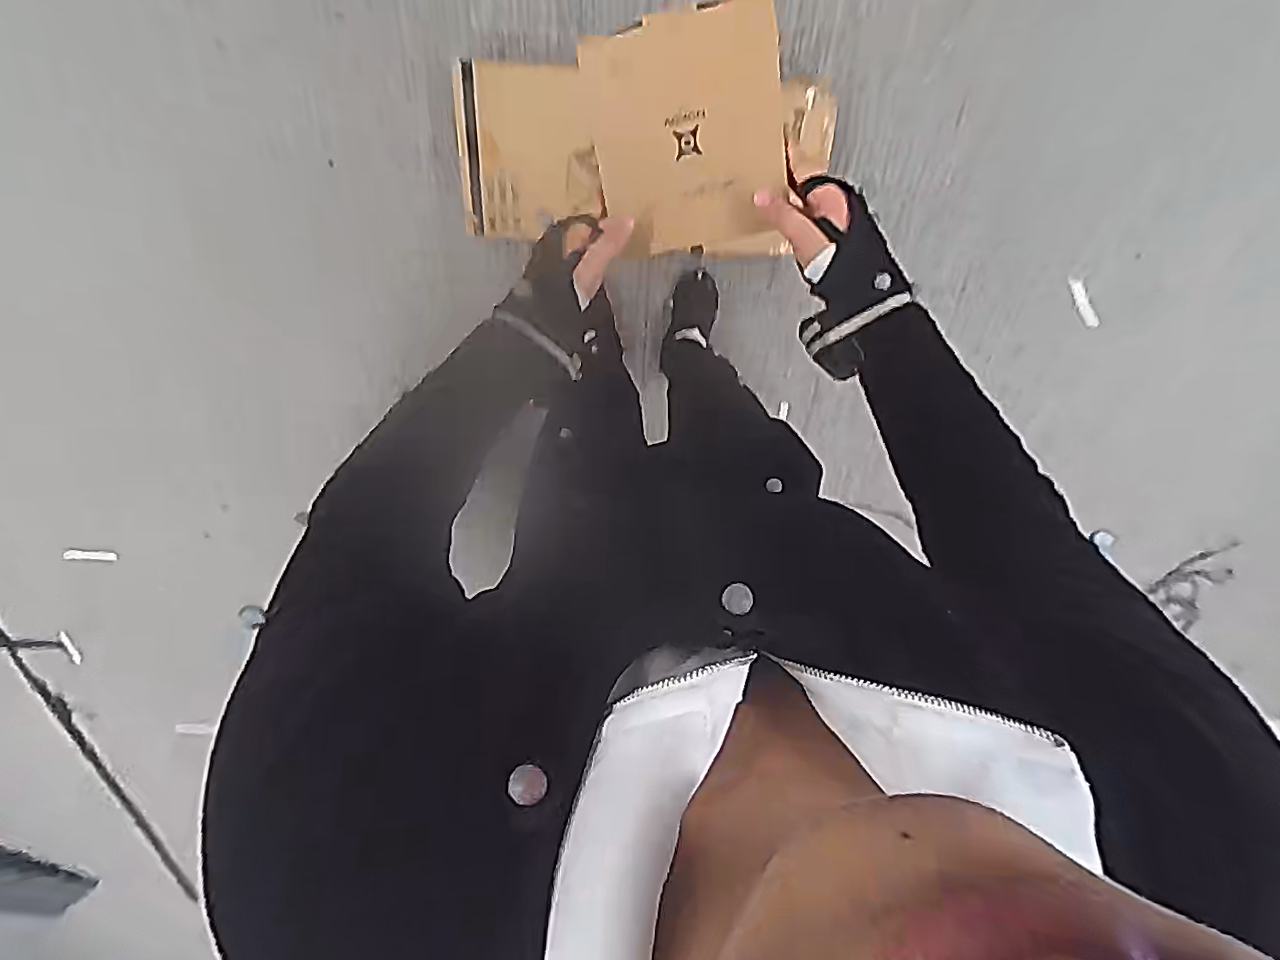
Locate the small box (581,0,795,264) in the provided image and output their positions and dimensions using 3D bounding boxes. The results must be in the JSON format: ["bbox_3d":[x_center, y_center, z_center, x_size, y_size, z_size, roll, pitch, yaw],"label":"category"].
[{"bbox_3d":[0.054,-0.324,0.534,0.168,0.176,0.179,-7,115,12],"label":"small box"}]
